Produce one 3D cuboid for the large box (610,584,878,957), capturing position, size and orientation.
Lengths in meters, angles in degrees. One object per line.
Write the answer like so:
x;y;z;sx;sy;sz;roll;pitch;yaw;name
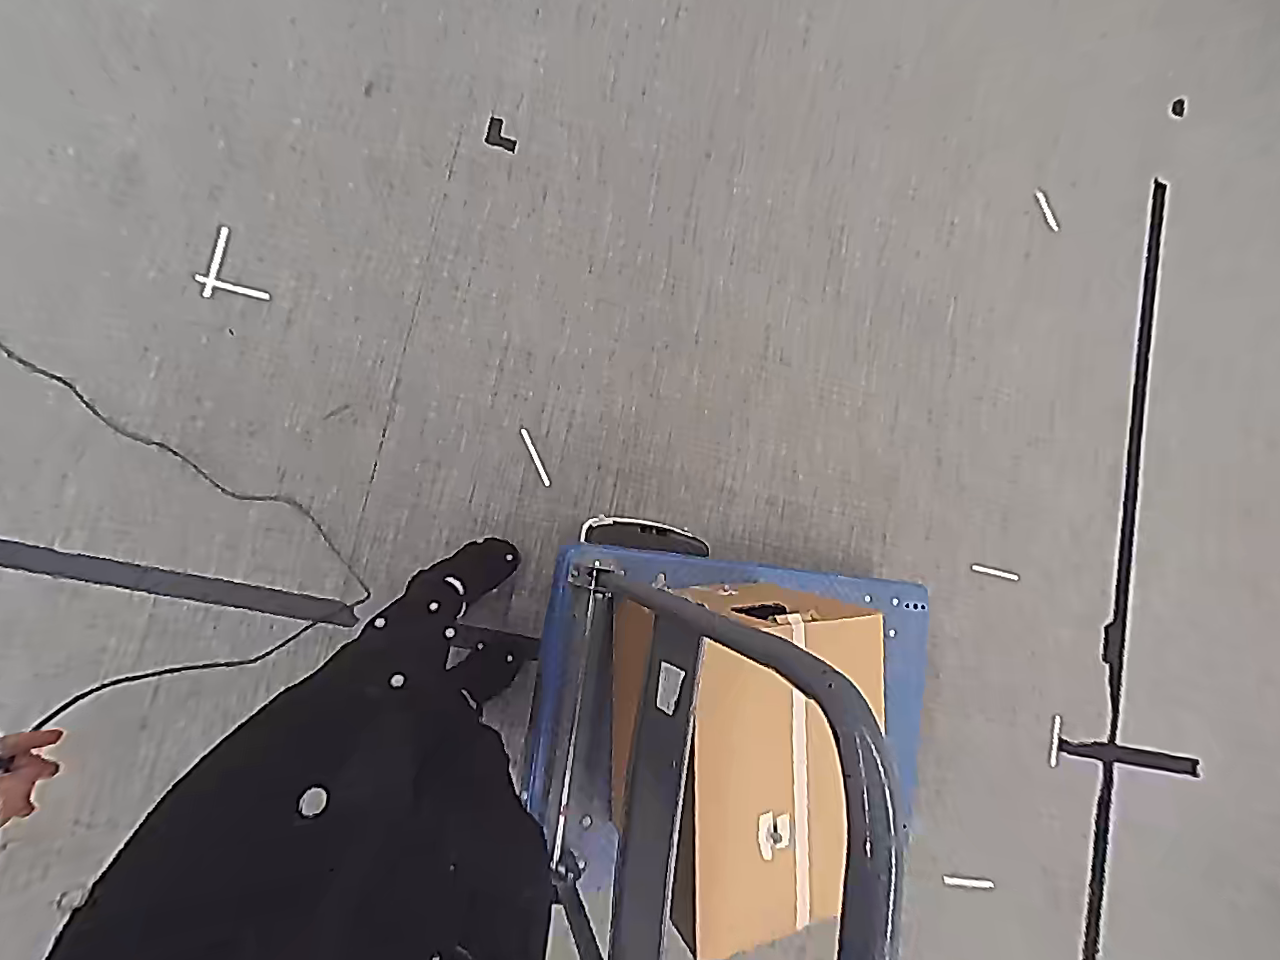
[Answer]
0.146;0.397;0.867;0.320;0.320;0.408;1;88;-22;large box
